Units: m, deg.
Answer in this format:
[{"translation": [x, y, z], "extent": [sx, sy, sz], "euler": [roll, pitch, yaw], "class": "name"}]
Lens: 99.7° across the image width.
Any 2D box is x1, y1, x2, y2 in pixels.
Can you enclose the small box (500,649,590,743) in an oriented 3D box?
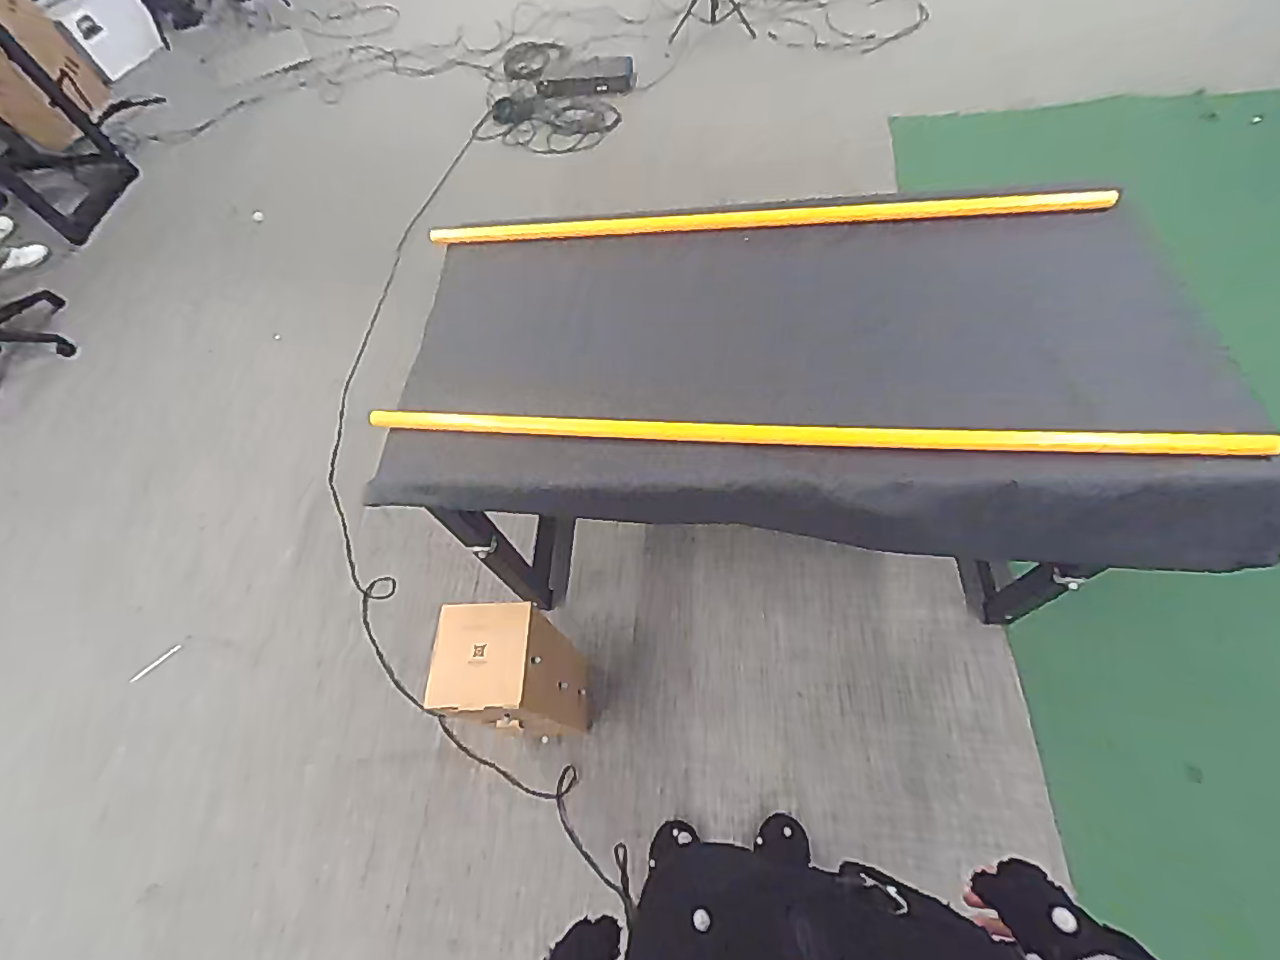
[{"translation": [-0.214, 0.505, 1.258], "extent": [0.168, 0.176, 0.179], "euler": [-7, 60, 5], "class": "small box"}]
